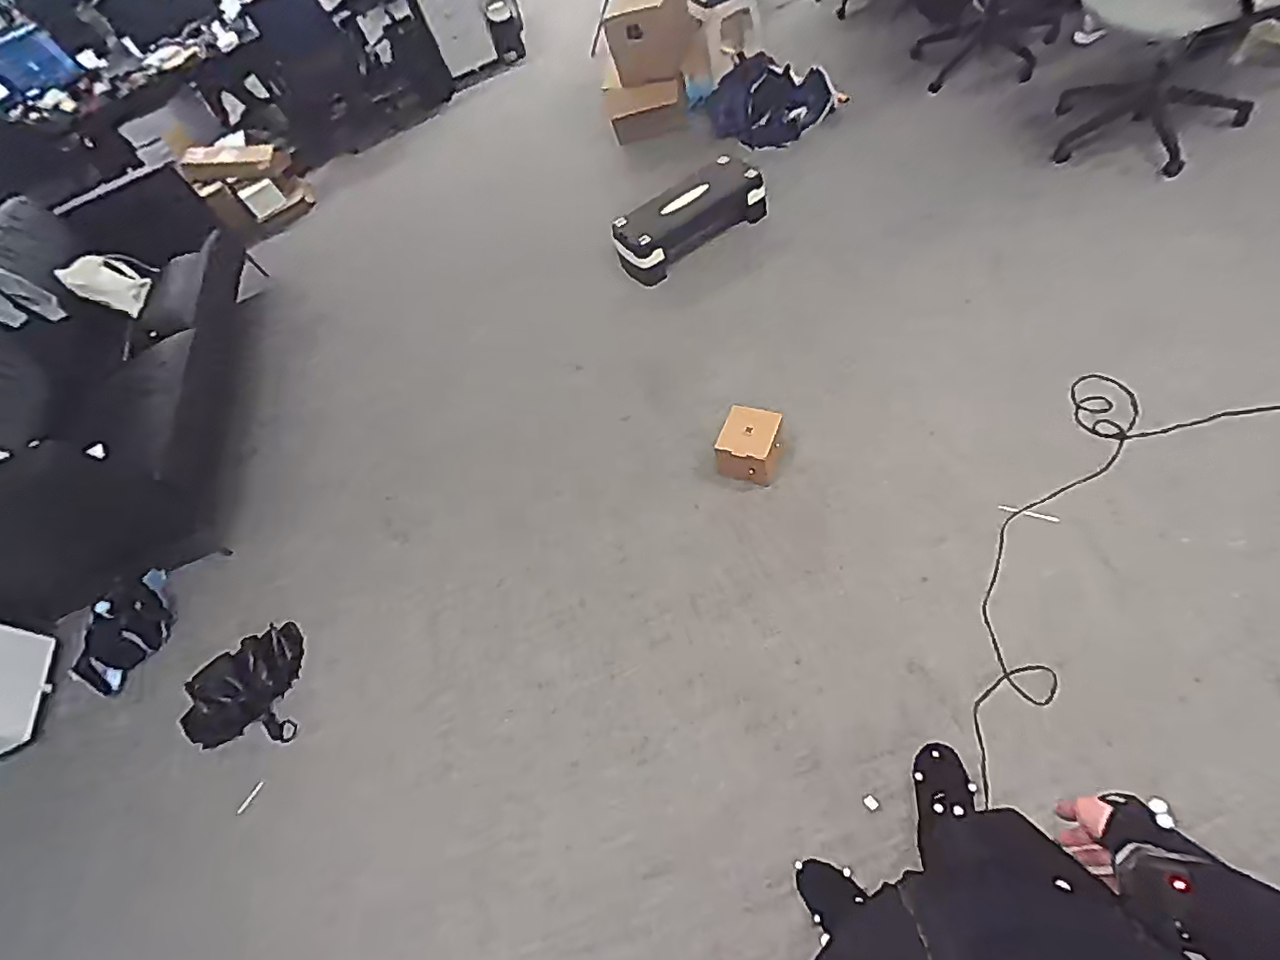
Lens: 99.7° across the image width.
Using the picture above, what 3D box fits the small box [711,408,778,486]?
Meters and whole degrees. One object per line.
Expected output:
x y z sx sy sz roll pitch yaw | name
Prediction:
0.345 -0.103 1.747 0.168 0.176 0.179 15 63 24 | small box
